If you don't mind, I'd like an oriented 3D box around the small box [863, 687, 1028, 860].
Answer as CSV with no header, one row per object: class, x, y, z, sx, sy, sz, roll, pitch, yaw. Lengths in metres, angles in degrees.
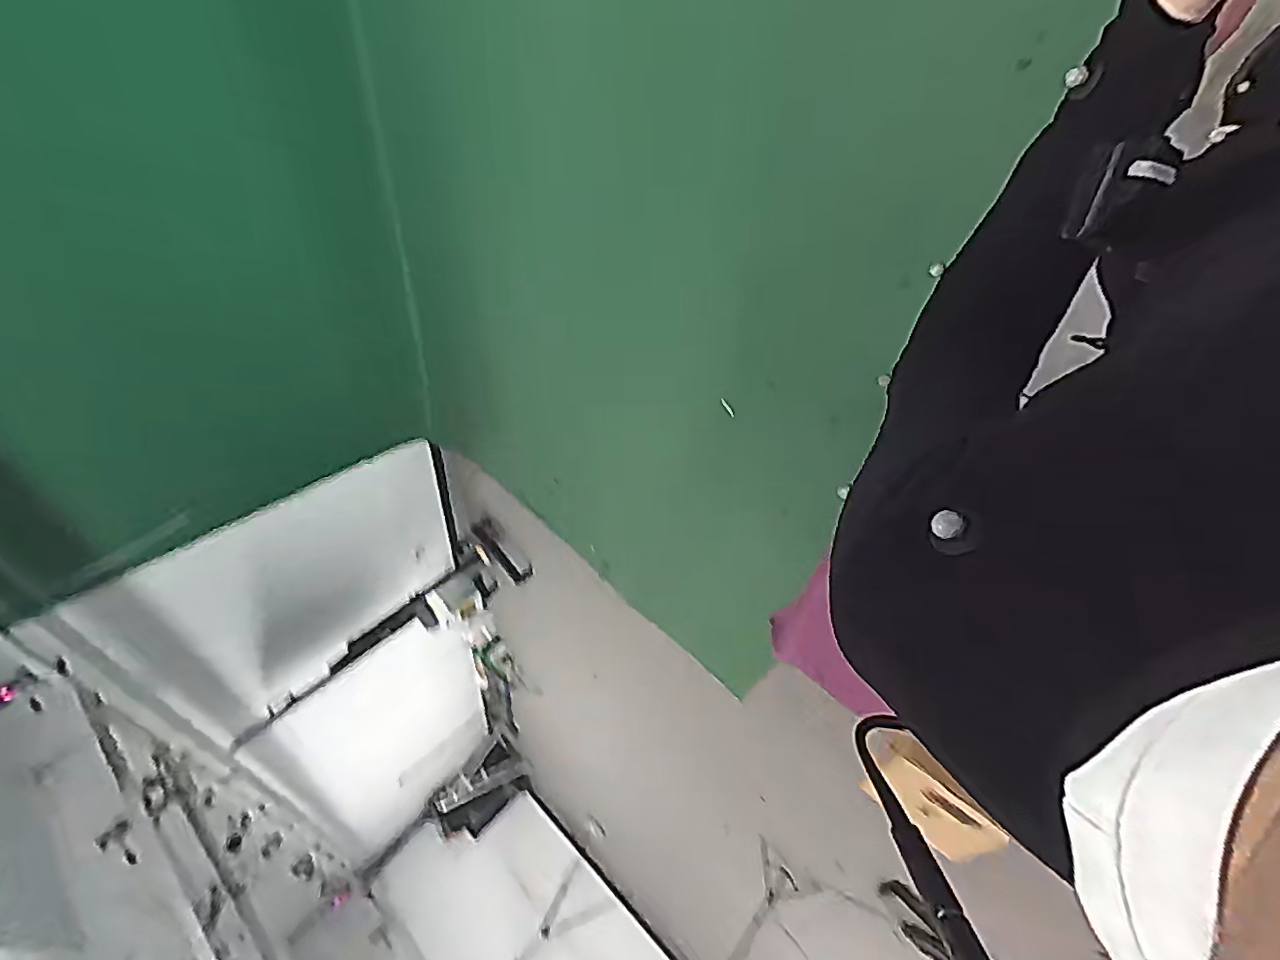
small box,0.514,0.487,0.911,0.168,0.176,0.179,35,142,24
